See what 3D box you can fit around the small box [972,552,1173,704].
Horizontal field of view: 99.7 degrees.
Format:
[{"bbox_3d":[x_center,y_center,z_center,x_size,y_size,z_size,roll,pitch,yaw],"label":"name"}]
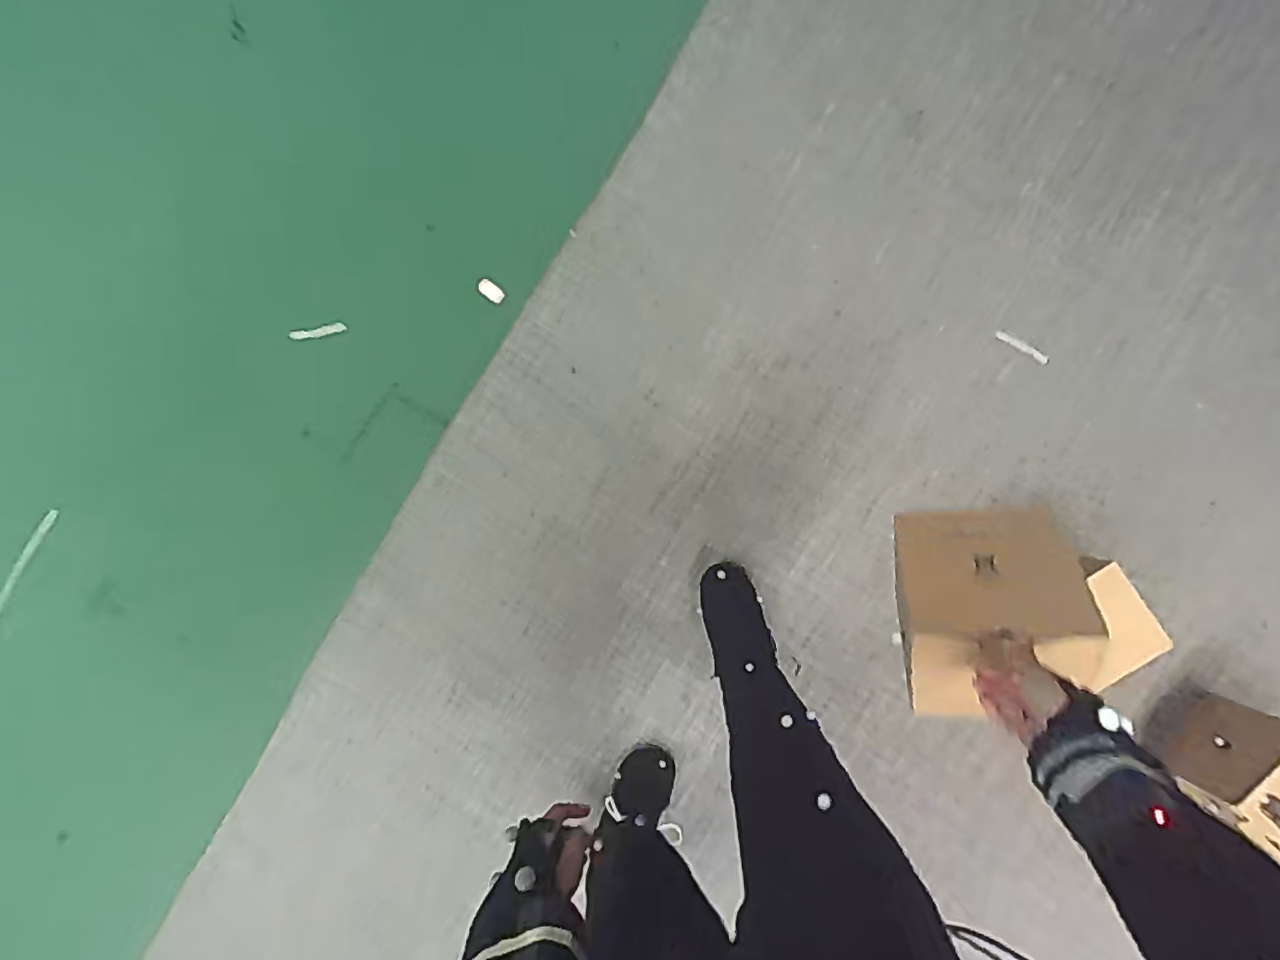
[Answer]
[{"bbox_3d":[0.732,0.243,0.938,0.179,0.176,0.168,-34,88,3],"label":"small box"}]
